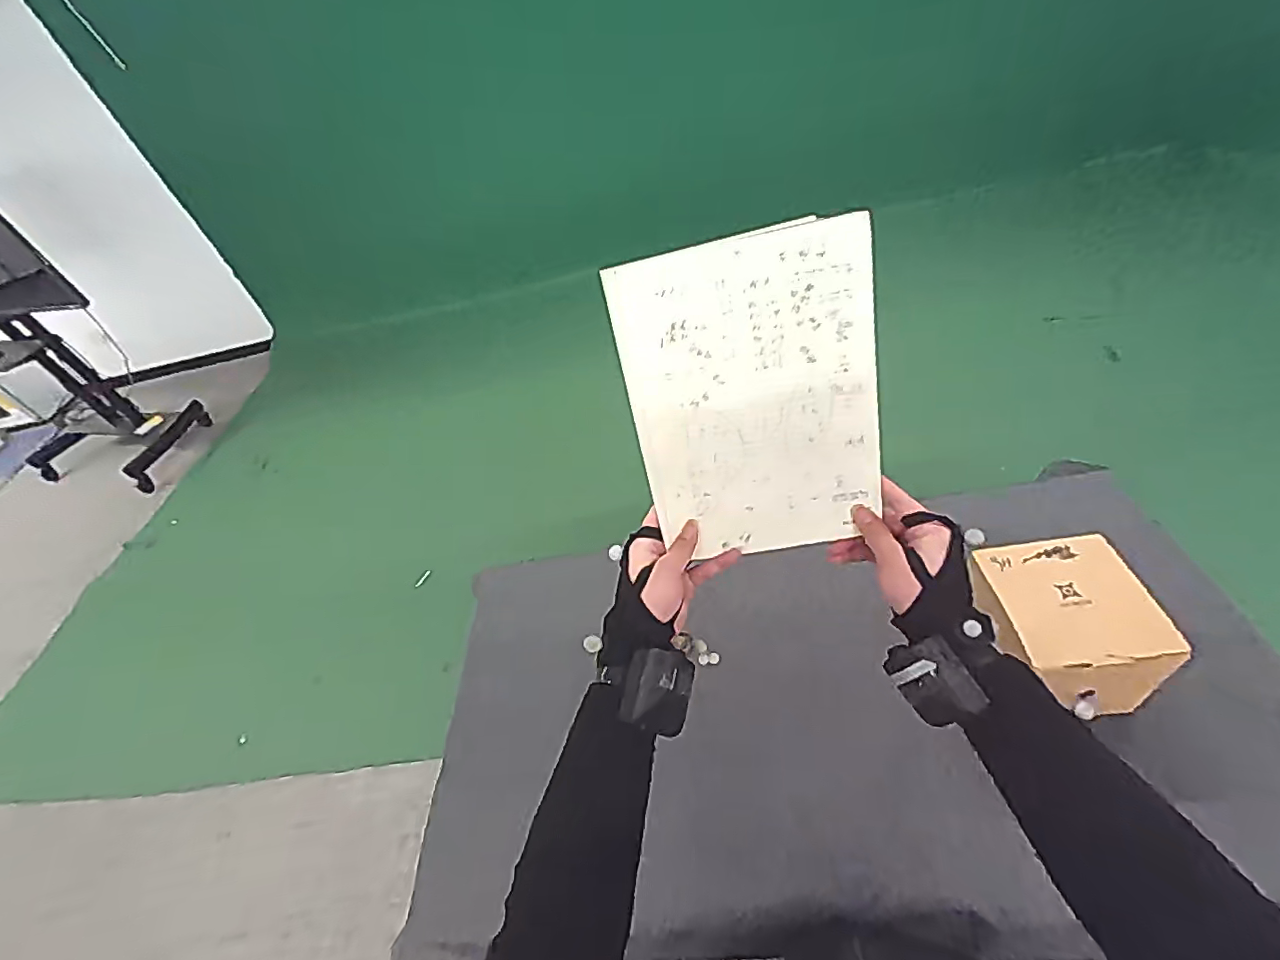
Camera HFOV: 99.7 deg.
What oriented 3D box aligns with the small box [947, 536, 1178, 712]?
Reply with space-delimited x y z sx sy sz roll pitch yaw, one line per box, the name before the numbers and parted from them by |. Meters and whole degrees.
small box | 0.551 0.203 0.740 0.168 0.176 0.179 -9 47 8
